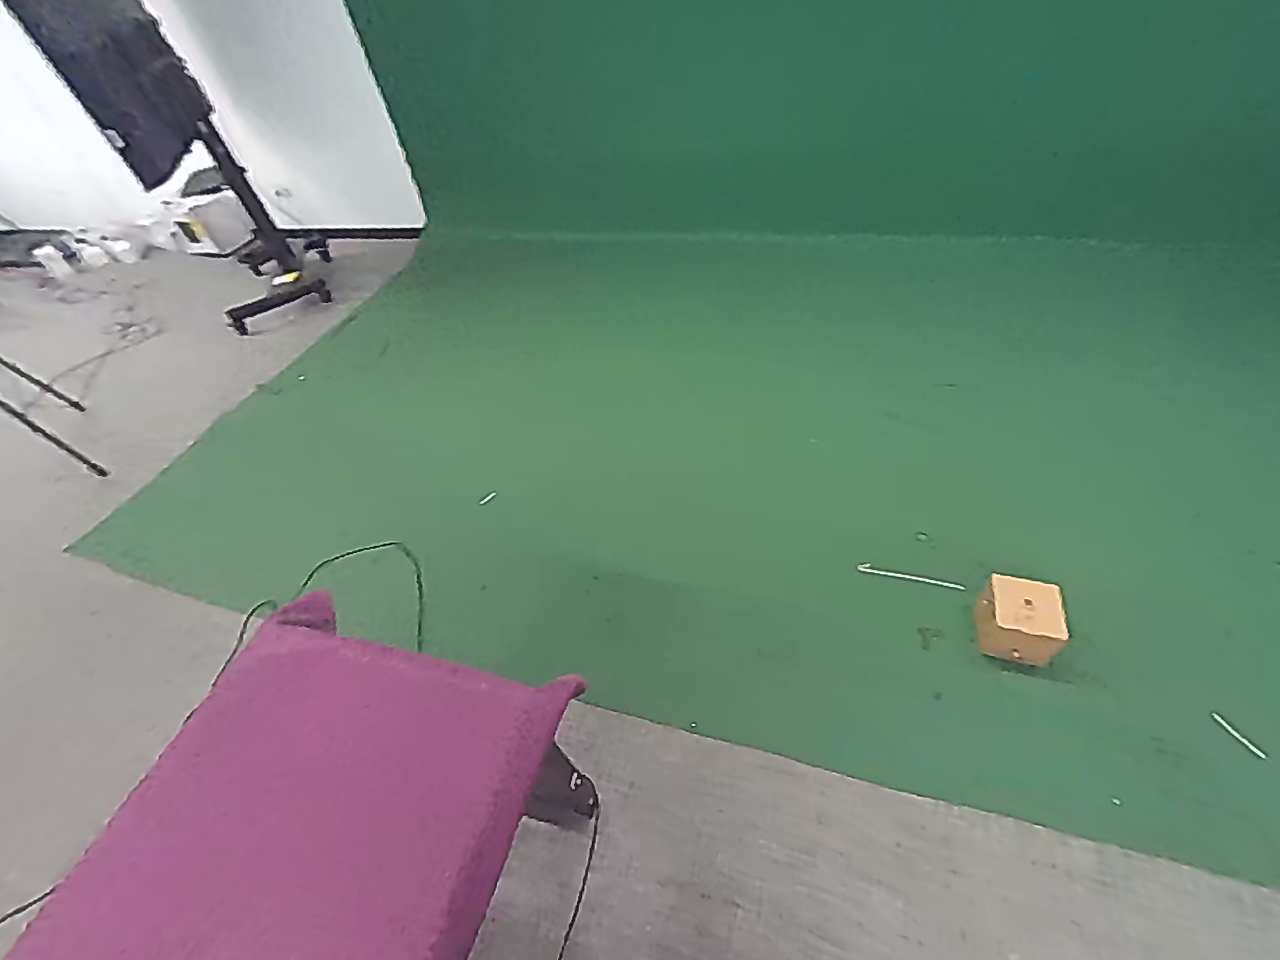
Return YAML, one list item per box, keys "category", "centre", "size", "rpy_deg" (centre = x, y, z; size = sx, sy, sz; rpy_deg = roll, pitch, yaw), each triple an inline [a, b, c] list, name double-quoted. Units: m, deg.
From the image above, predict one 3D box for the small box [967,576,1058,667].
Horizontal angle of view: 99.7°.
- category: "small box"
  centre: [1.066, 0.409, 1.564]
  size: [0.168, 0.176, 0.179]
  rpy_deg: [10, 50, 17]
